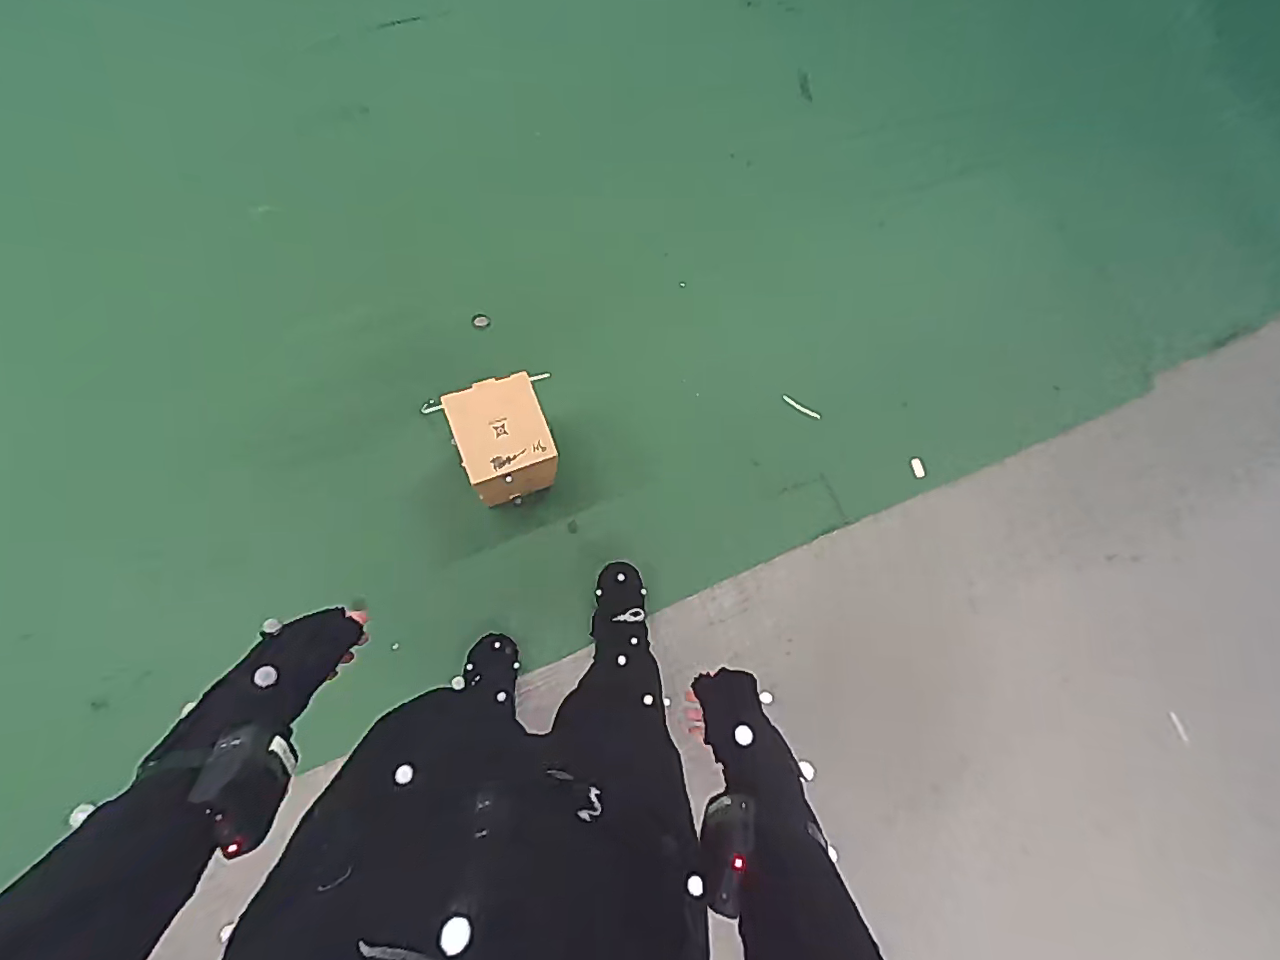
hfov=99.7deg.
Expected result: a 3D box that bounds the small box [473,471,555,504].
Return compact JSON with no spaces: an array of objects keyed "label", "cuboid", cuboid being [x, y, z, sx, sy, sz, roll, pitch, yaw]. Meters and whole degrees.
[{"label":"small box","cuboid":[-0.297,-0.059,1.206,0.168,0.176,0.179,-19,85,-11]}]

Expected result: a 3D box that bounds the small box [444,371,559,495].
[{"label":"small box","cuboid":[-0.268,-0.087,1.066,0.168,0.176,0.179,-20,84,-13]}]
